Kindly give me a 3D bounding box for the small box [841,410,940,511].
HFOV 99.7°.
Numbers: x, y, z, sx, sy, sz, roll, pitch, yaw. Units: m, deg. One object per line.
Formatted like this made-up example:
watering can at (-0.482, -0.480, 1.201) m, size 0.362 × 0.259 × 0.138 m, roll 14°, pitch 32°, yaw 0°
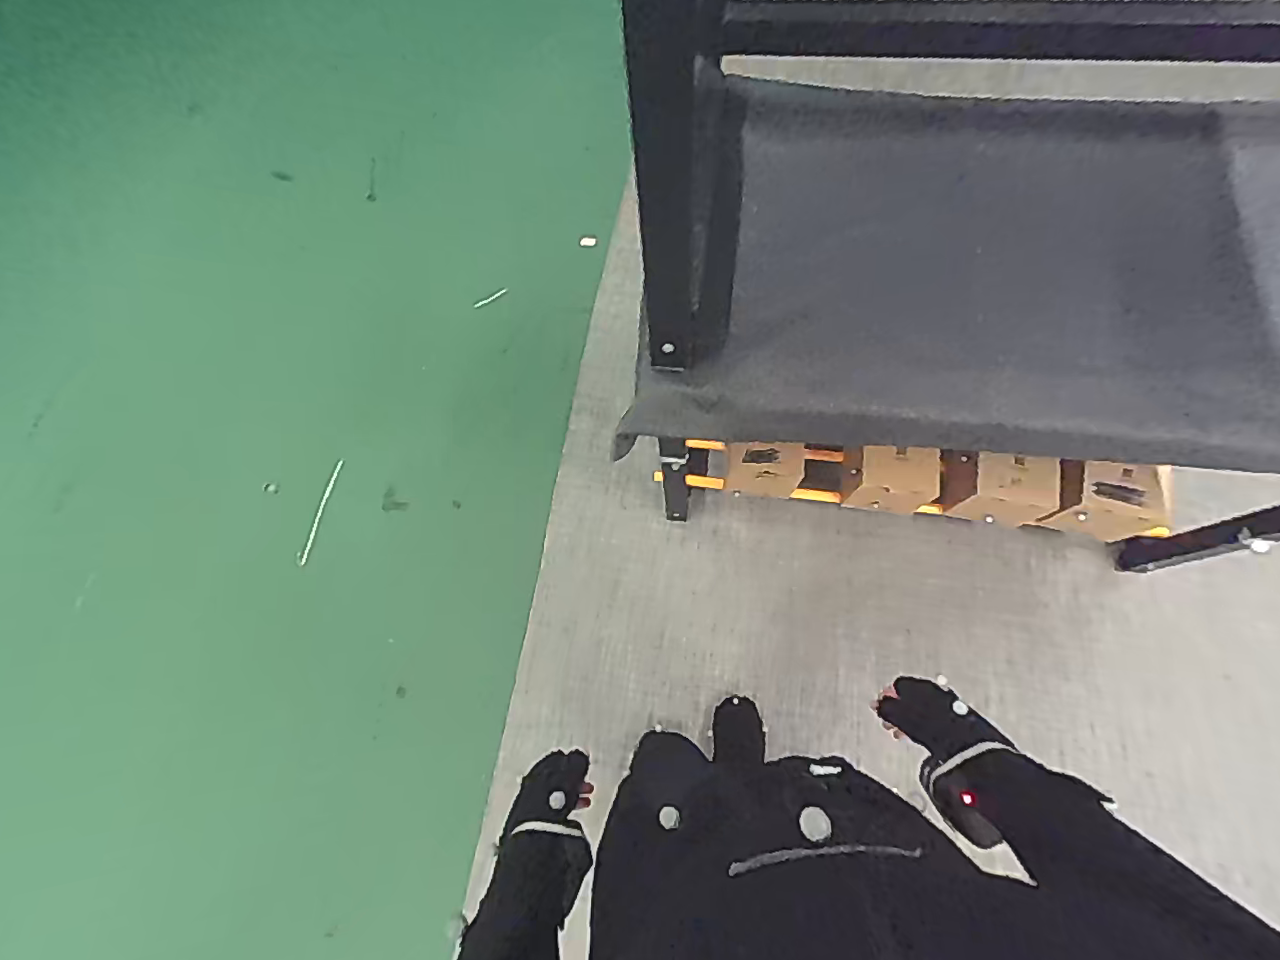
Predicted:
small box at (0.580, -0.041, 1.265) m, size 0.168 × 0.176 × 0.179 m, roll 8°, pitch 73°, yaw 7°
